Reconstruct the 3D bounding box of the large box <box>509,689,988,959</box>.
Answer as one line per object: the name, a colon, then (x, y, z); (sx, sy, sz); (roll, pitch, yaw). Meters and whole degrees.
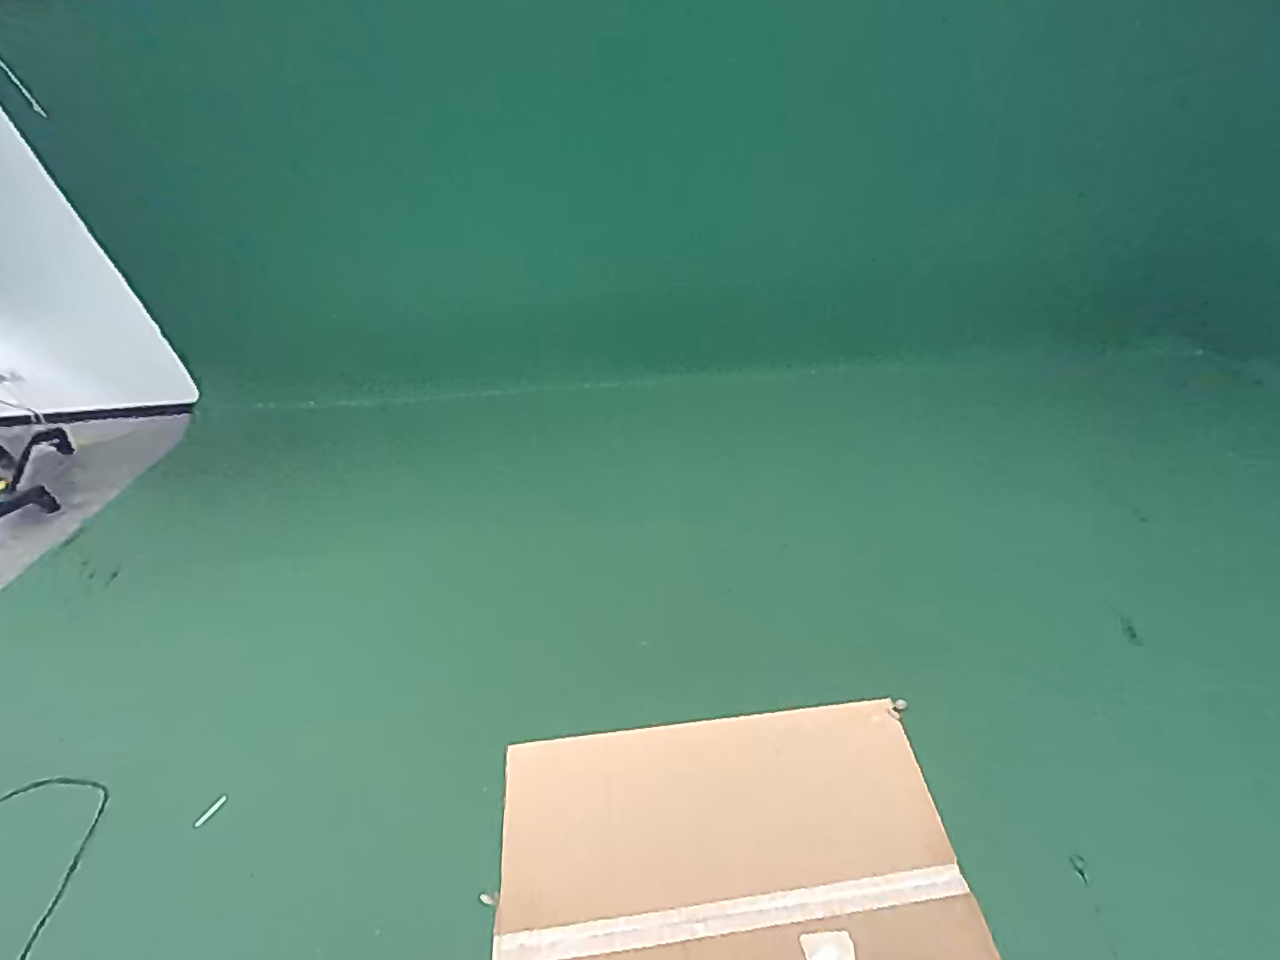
large box: (0.082, 0.460, 0.591); (0.408, 0.320, 0.320); (-5, 51, -5)
